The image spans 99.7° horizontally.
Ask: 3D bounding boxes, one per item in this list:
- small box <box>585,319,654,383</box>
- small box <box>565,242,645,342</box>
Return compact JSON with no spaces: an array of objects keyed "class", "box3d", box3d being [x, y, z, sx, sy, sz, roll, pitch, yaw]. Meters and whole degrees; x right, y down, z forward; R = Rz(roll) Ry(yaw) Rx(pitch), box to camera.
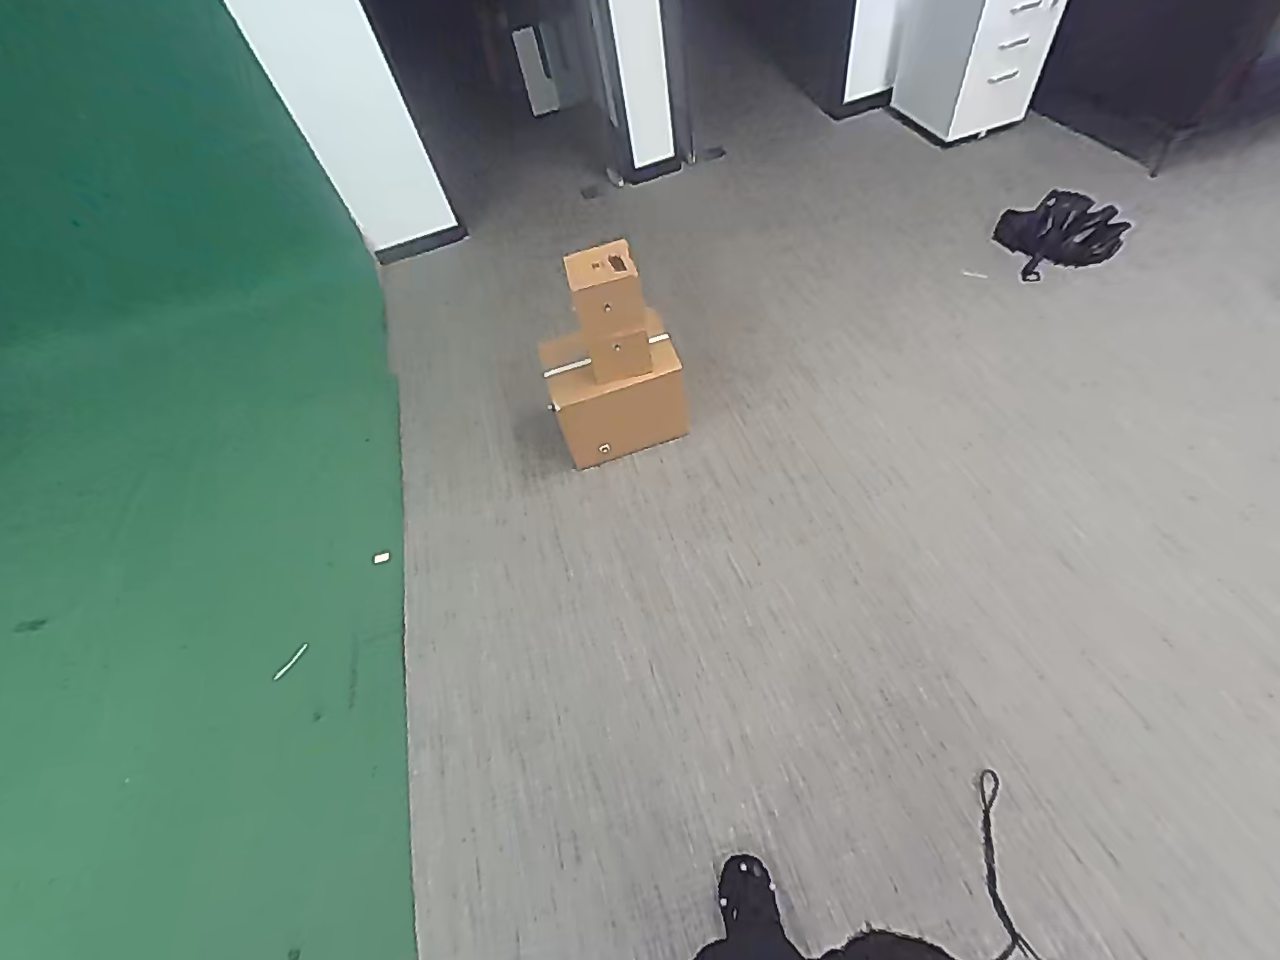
[{"class":"small box","box3d":[-0.065,-0.409,1.595,0.179,0.176,0.168,-13,56,0]},{"class":"small box","box3d":[-0.089,-0.504,1.463,0.179,0.176,0.168,-15,55,2]}]
